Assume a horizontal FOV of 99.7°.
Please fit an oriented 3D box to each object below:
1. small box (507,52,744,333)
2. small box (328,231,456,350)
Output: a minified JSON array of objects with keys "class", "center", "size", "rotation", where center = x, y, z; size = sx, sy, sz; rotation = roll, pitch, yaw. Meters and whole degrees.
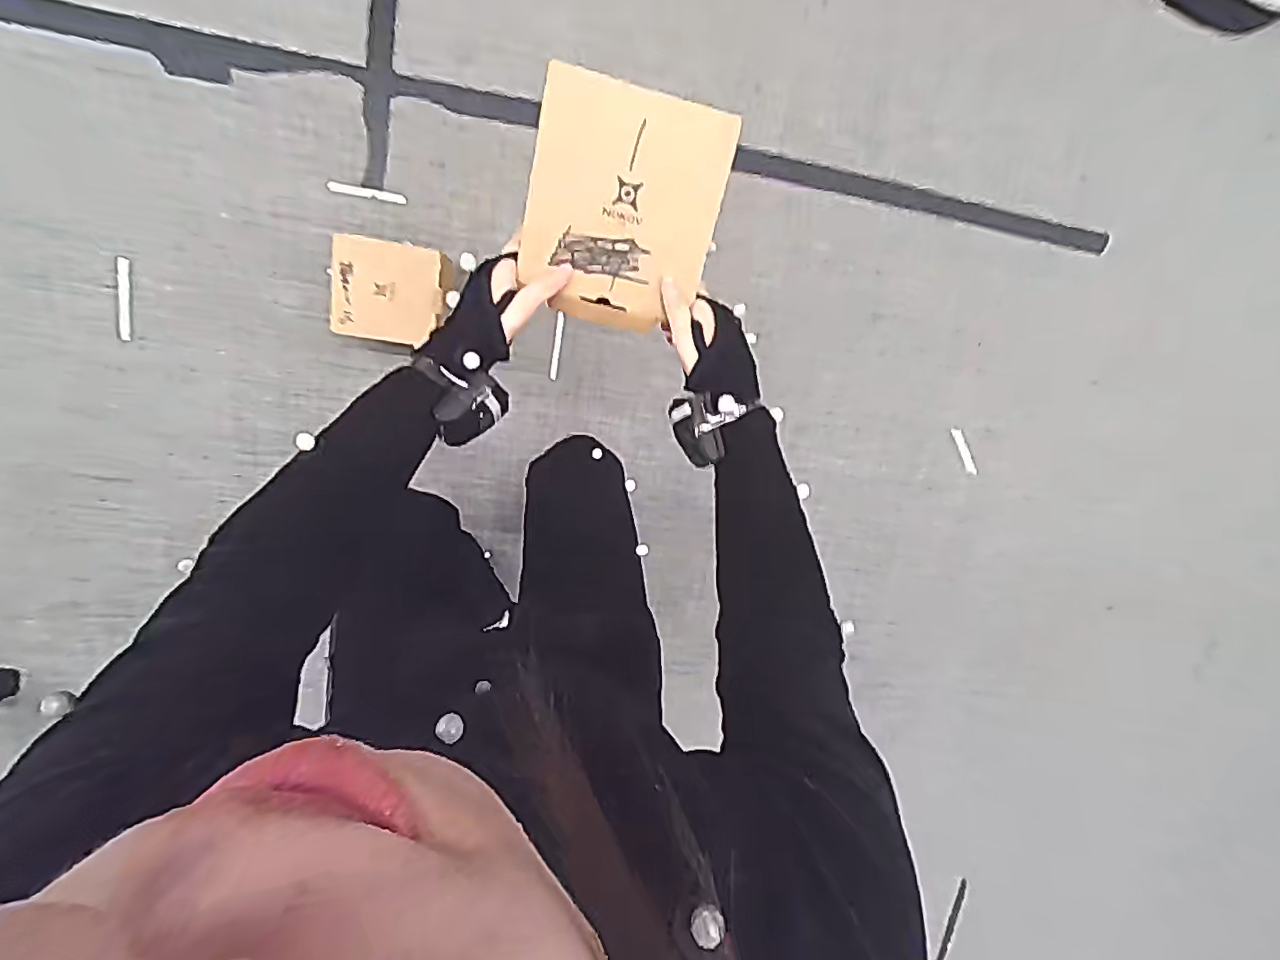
[{"class":"small box","center":[-0.017,-0.256,0.521],"size":[0.168,0.176,0.179],"rotation":[13,110,-7]},{"class":"small box","center":[-0.443,-0.338,0.991],"size":[0.179,0.176,0.168],"rotation":[8,102,-11]}]
